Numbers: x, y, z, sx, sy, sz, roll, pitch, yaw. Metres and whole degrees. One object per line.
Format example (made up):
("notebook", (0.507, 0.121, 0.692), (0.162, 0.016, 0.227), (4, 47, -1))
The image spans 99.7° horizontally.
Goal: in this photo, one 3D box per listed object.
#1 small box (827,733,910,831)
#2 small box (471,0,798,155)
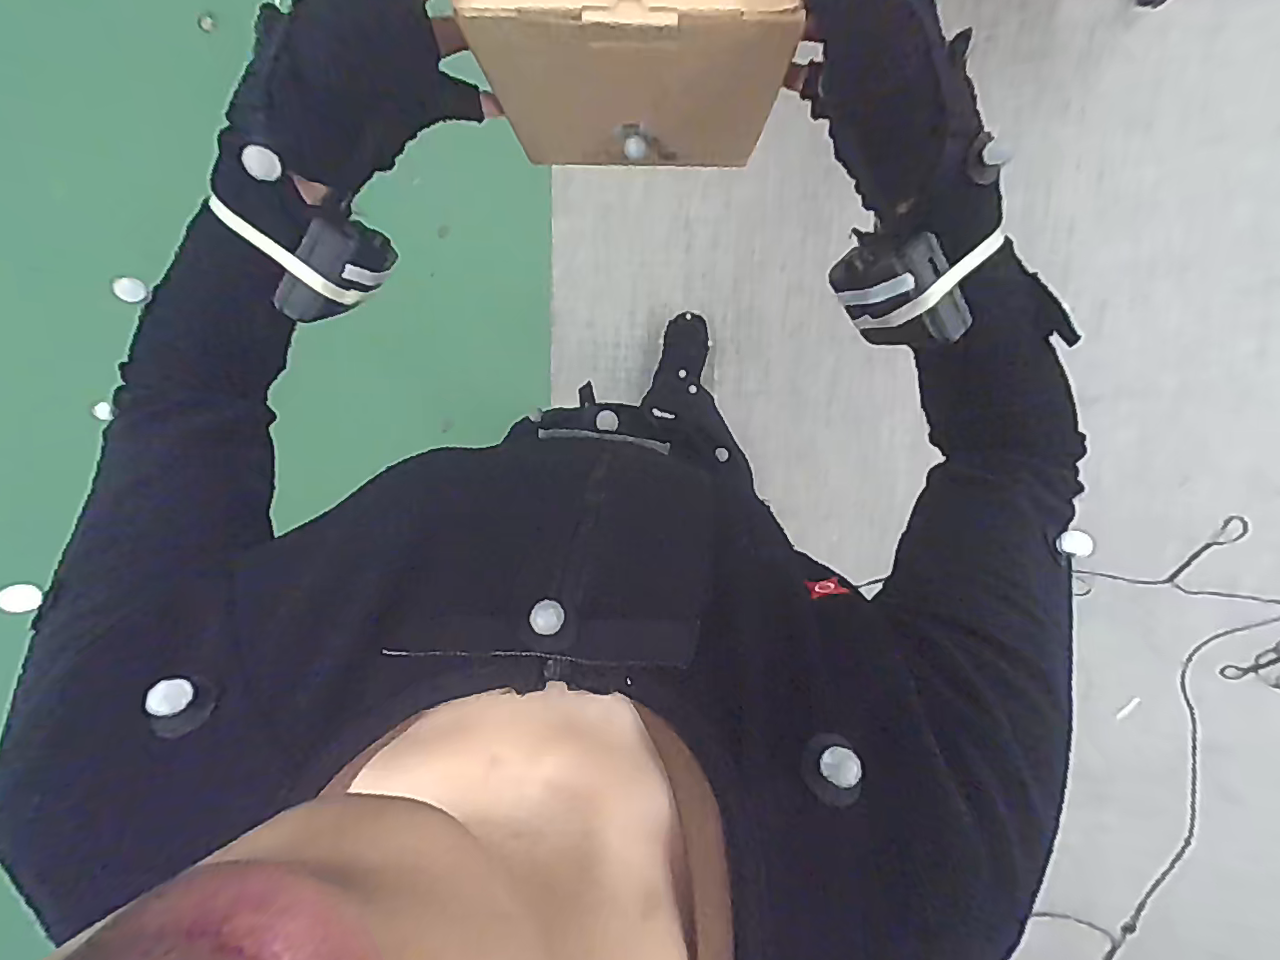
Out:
("small box", (0.630, 0.835, 1.506), (0.168, 0.176, 0.179), (-3, 97, 0))
("small box", (-0.004, -0.317, 0.306), (0.168, 0.176, 0.179), (2, 98, 2))
